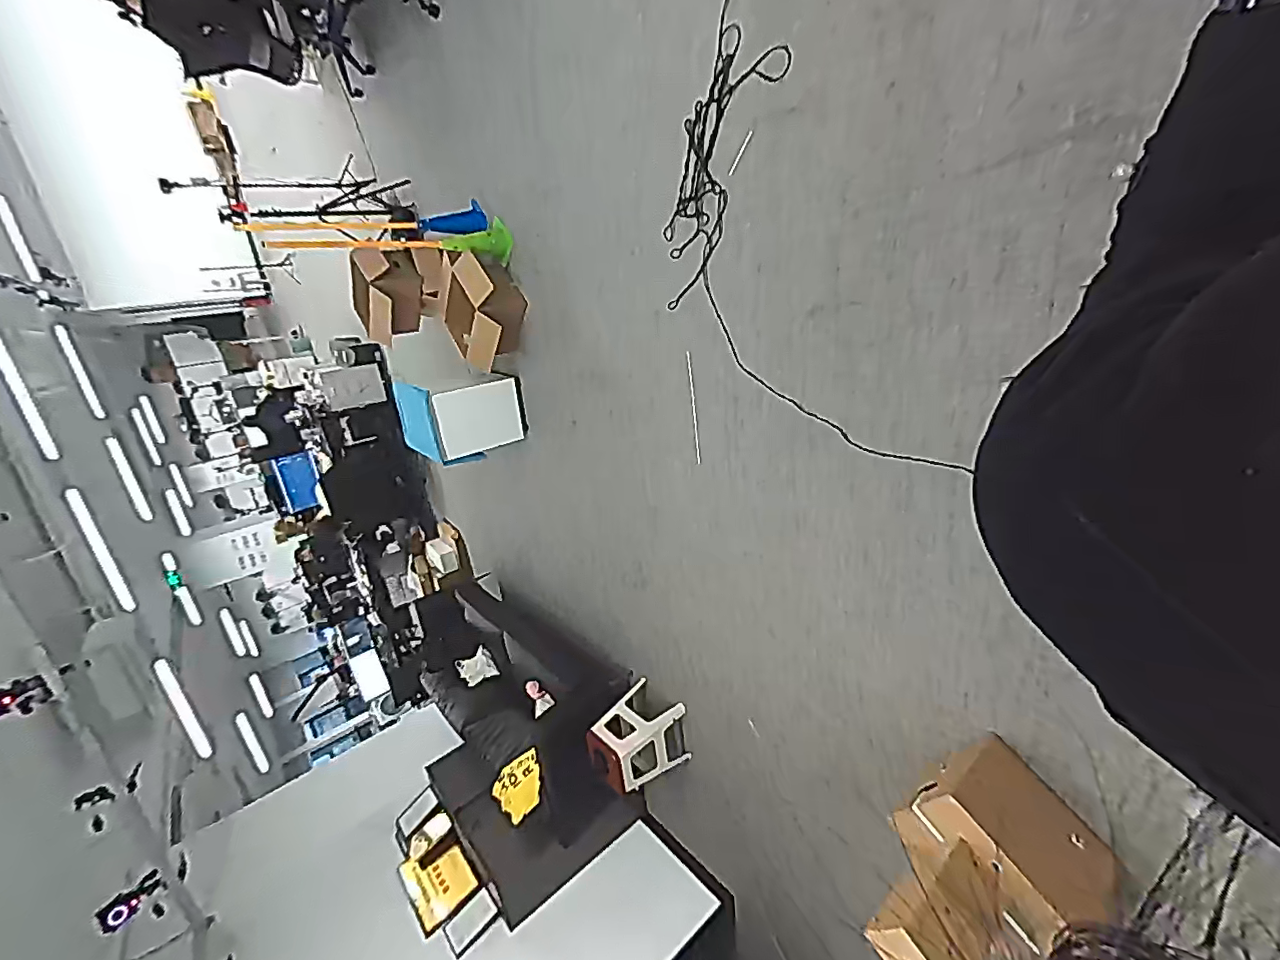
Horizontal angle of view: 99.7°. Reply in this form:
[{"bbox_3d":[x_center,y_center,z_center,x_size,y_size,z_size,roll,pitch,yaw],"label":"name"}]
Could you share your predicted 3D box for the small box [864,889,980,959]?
[{"bbox_3d":[0.711,1.169,1.354,0.168,0.176,0.179,50,143,25],"label":"small box"}]
